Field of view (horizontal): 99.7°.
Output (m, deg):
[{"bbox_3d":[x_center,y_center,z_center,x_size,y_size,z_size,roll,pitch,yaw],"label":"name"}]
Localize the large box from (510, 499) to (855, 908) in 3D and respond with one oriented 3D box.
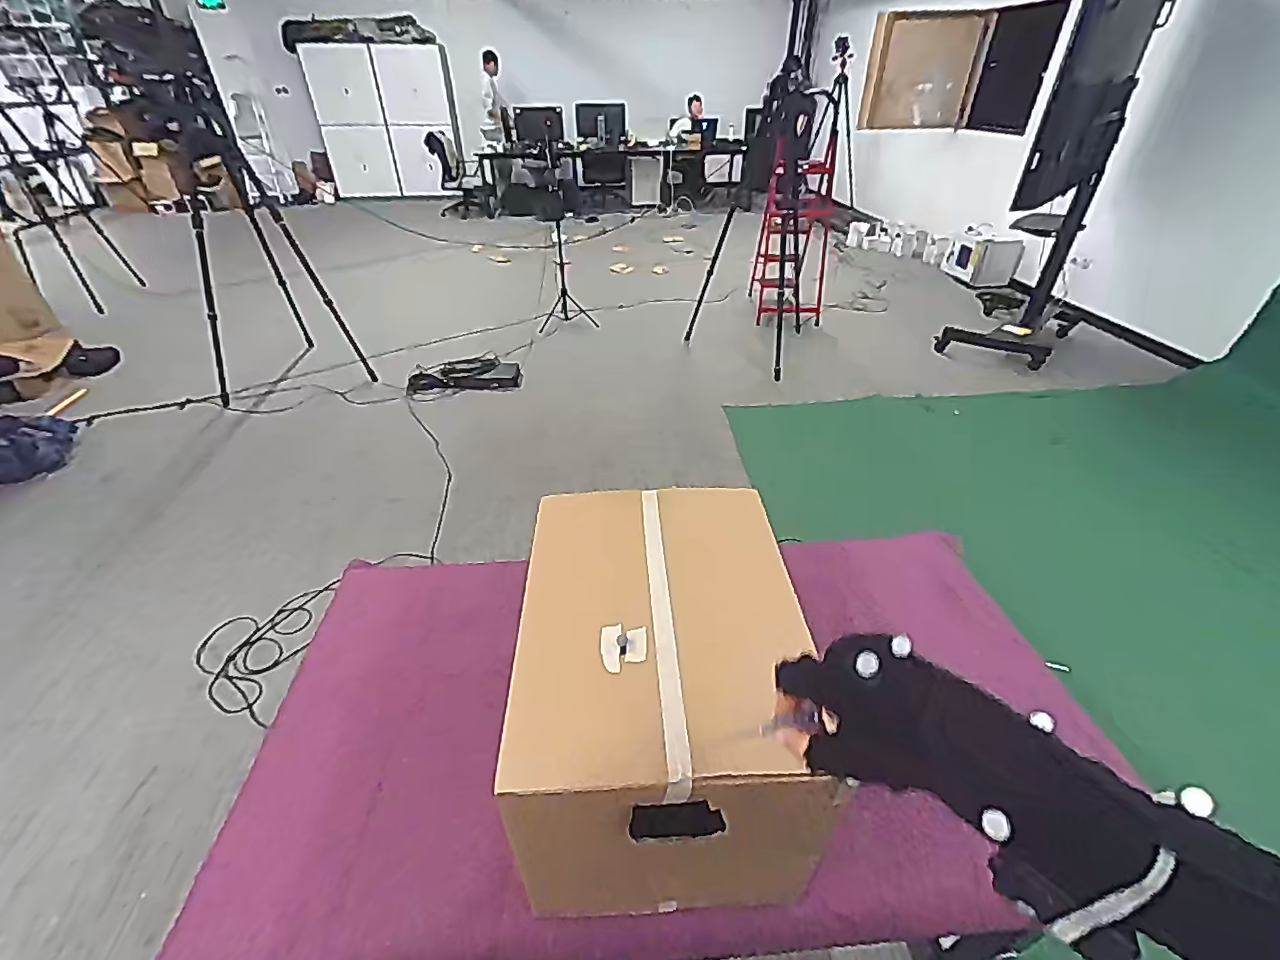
[{"bbox_3d":[0.025,0.268,0.716,0.320,0.320,0.408,-2,37,-2],"label":"large box"}]
